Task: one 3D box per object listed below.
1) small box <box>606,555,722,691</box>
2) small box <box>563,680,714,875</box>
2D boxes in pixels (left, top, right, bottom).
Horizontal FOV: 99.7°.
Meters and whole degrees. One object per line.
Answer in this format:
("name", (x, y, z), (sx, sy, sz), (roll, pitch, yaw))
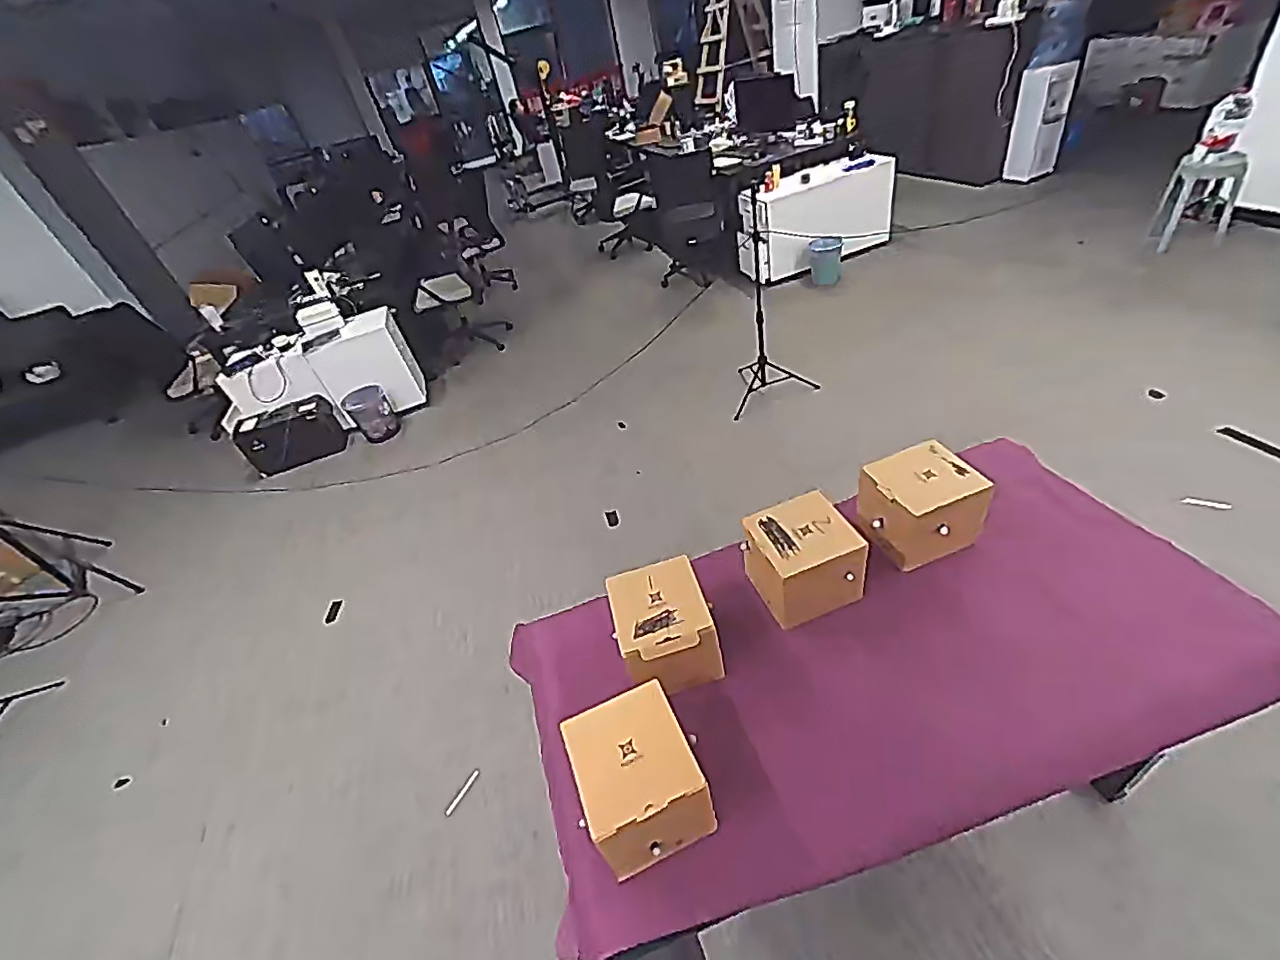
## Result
("small box", (0.045, 0.276, 1.011), (0.168, 0.176, 0.179), (-17, 40, -3))
("small box", (-0.002, 0.449, 0.819), (0.168, 0.176, 0.179), (-22, 40, -11))
